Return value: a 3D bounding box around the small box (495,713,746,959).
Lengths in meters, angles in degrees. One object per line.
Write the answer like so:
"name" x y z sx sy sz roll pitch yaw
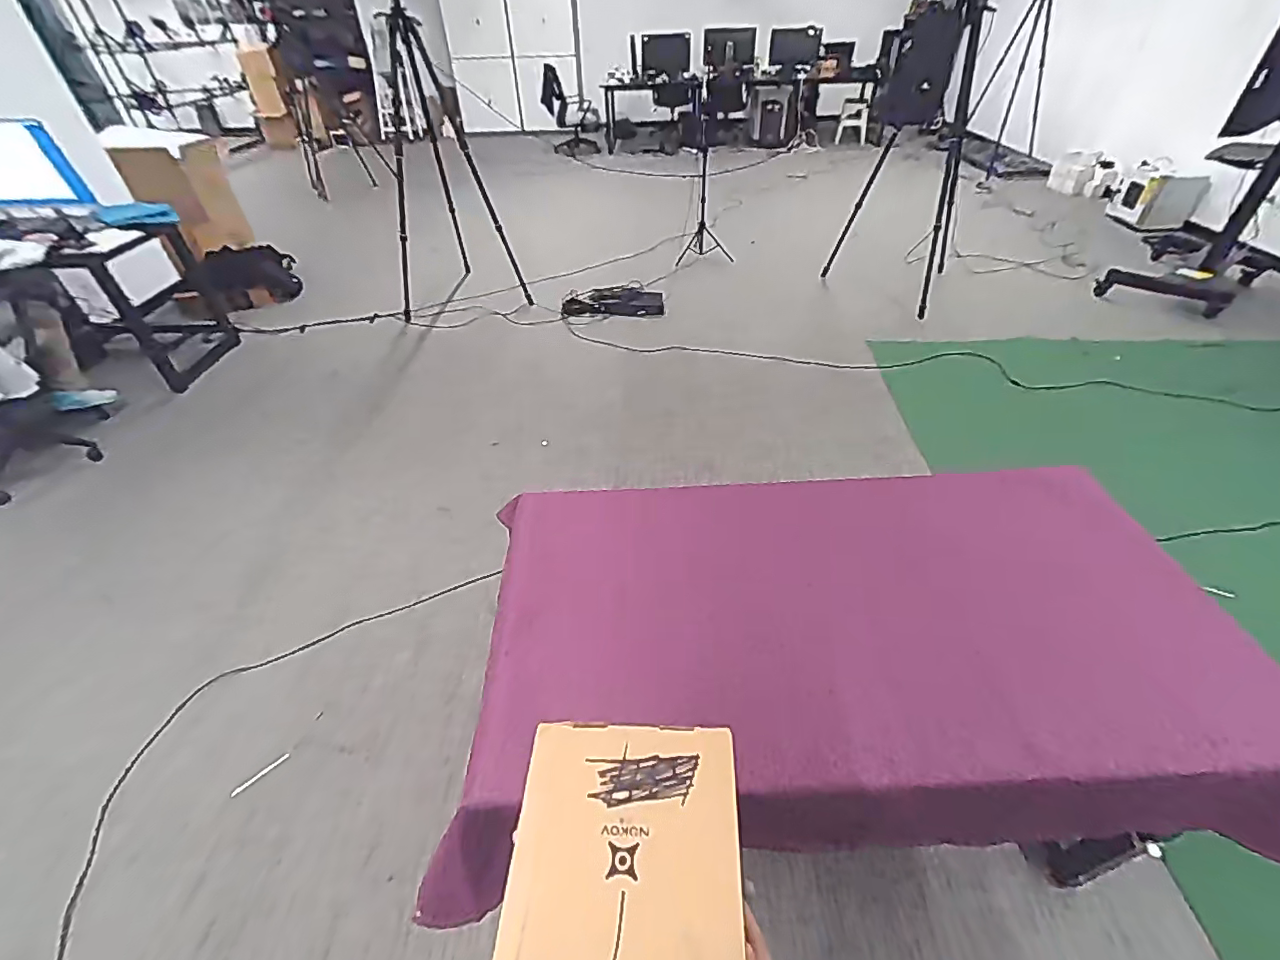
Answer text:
"small box" -0.003 0.321 0.455 0.168 0.176 0.179 0 44 6
